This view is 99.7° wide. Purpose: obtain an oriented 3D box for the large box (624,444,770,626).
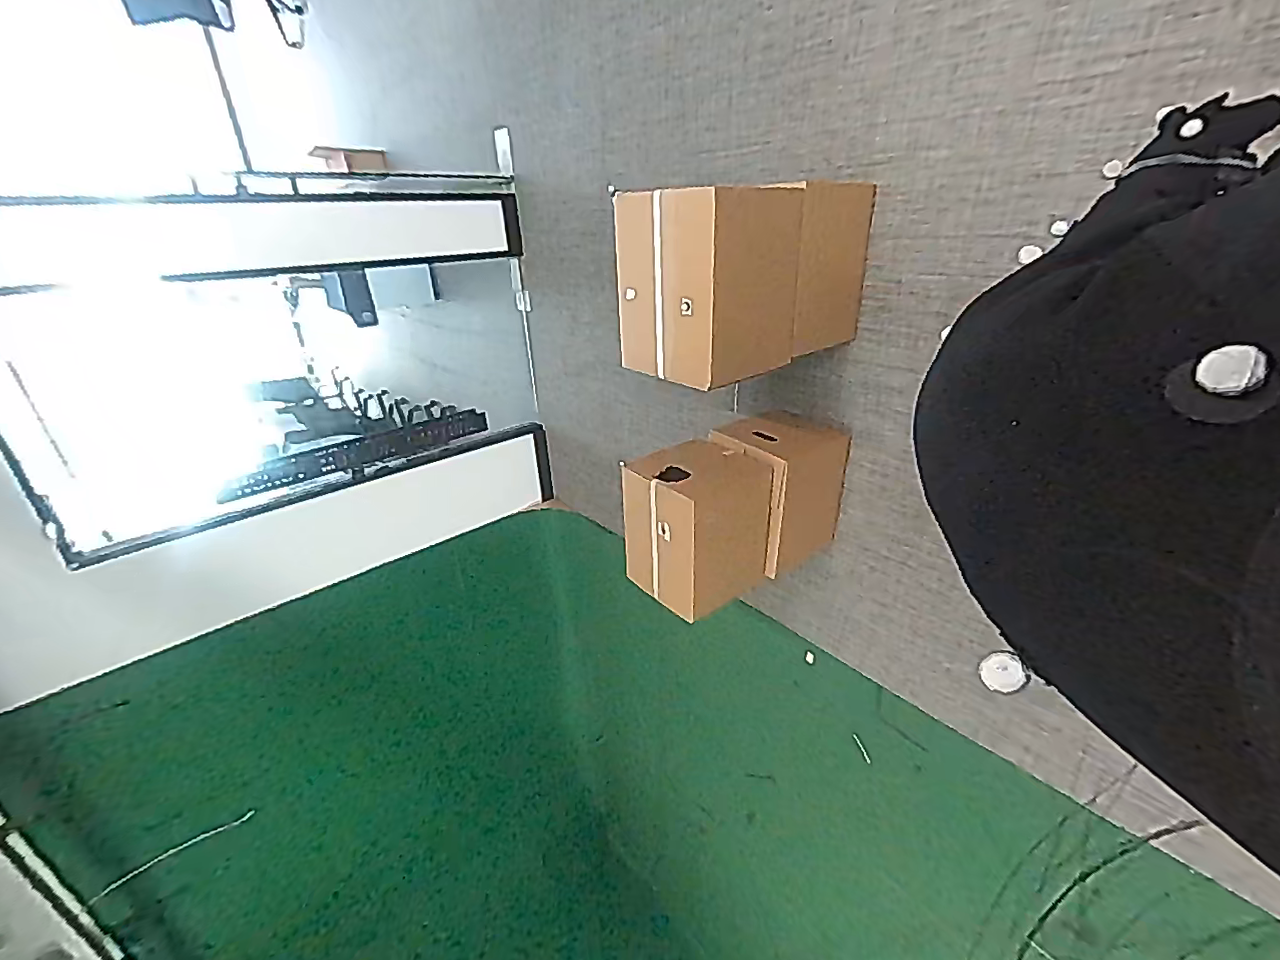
[{"bbox_3d":[0.165,0.147,1.629,0.320,0.320,0.408,29,128,46],"label":"large box"}]
